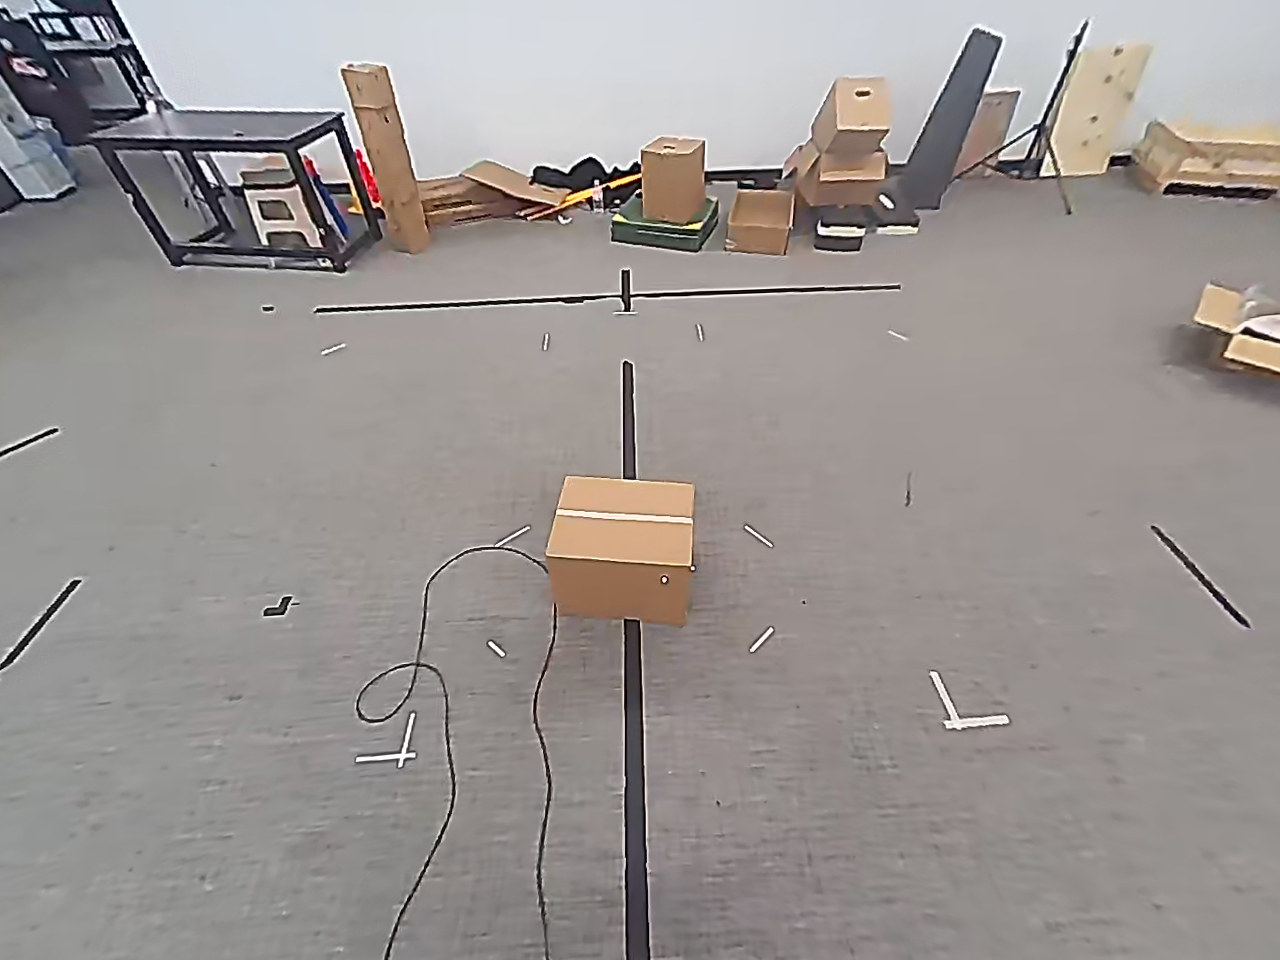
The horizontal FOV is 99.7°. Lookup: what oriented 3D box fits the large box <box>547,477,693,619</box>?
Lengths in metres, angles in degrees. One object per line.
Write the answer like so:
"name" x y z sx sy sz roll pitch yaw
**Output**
"large box" -0.046 0.212 1.677 0.408 0.320 0.320 4 46 4
